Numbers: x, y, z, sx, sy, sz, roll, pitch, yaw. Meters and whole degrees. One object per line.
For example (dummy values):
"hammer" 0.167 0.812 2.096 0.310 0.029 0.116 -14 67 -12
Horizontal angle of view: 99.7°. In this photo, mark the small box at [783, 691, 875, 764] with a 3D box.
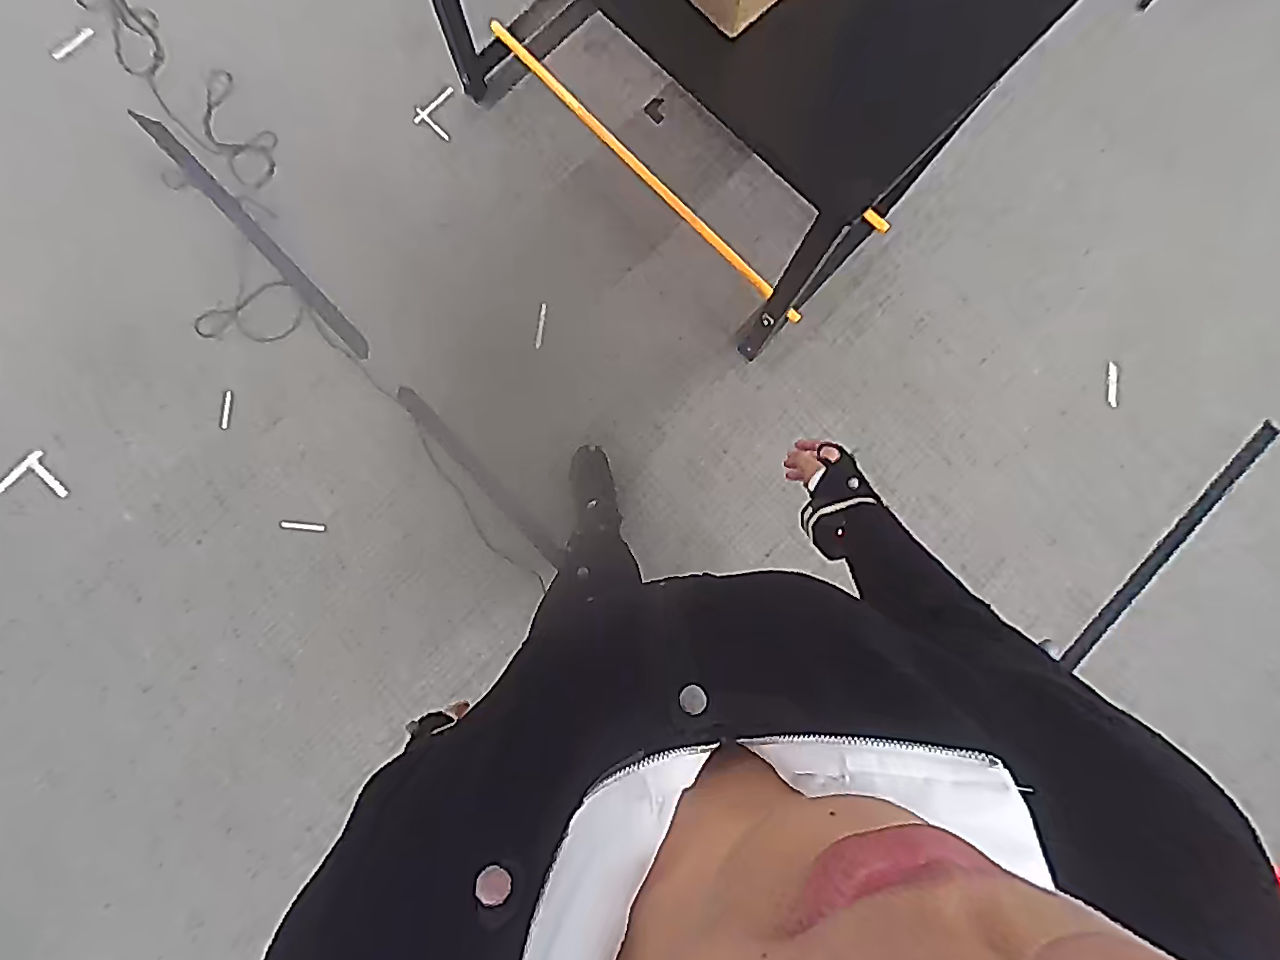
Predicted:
"small box" 0.498 0.671 1.377 0.179 0.176 0.168 42 84 4

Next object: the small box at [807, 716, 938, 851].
"small box" 0.510 0.665 1.212 0.179 0.176 0.168 37 83 2
